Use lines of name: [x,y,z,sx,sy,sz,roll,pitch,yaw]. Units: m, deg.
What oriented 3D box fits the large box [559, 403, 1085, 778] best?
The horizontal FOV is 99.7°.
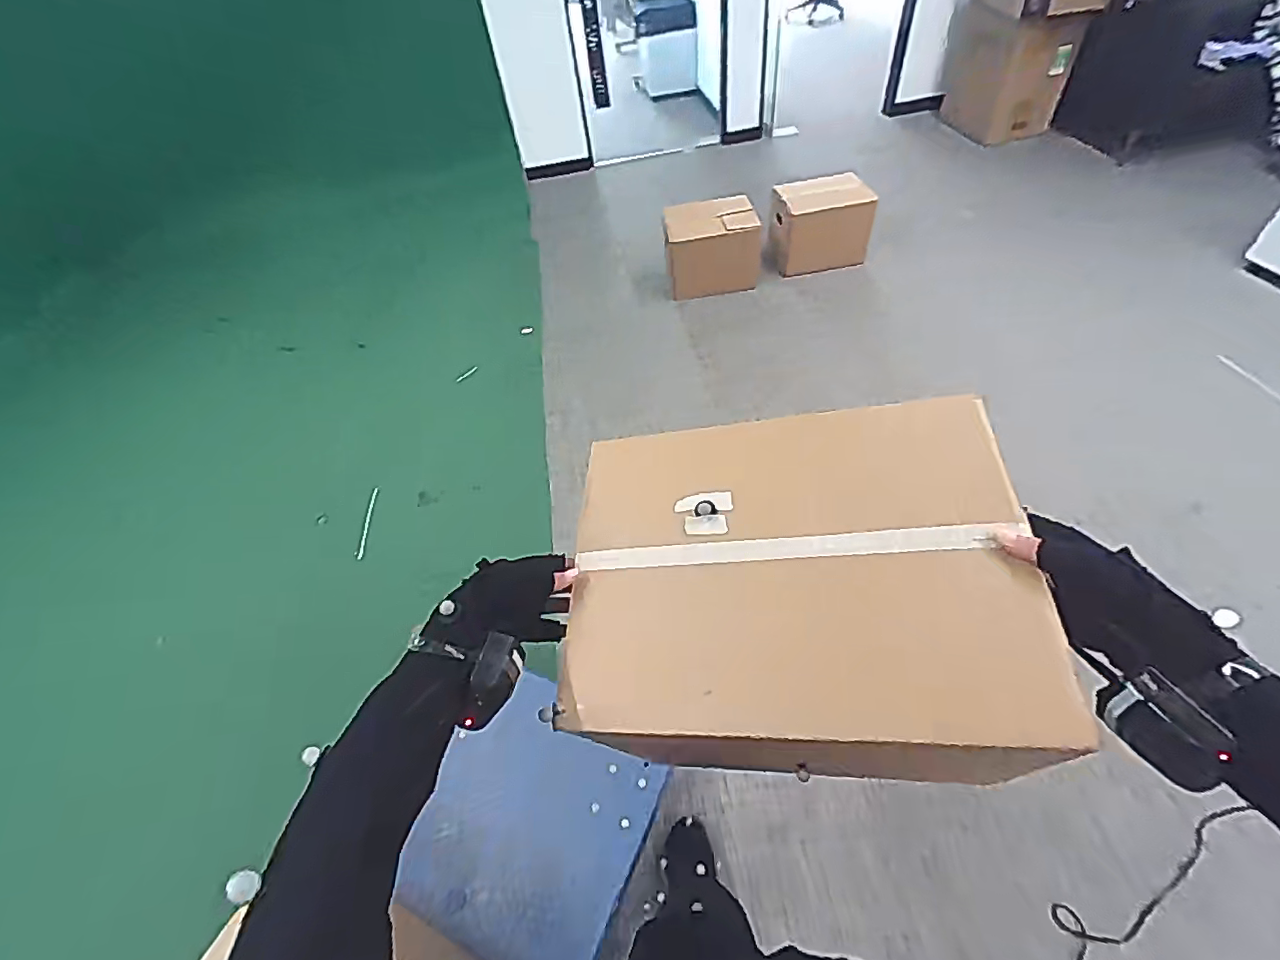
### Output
large box: [0.170,0.151,0.619,0.408,0.320,0.320,-6,55,16]
